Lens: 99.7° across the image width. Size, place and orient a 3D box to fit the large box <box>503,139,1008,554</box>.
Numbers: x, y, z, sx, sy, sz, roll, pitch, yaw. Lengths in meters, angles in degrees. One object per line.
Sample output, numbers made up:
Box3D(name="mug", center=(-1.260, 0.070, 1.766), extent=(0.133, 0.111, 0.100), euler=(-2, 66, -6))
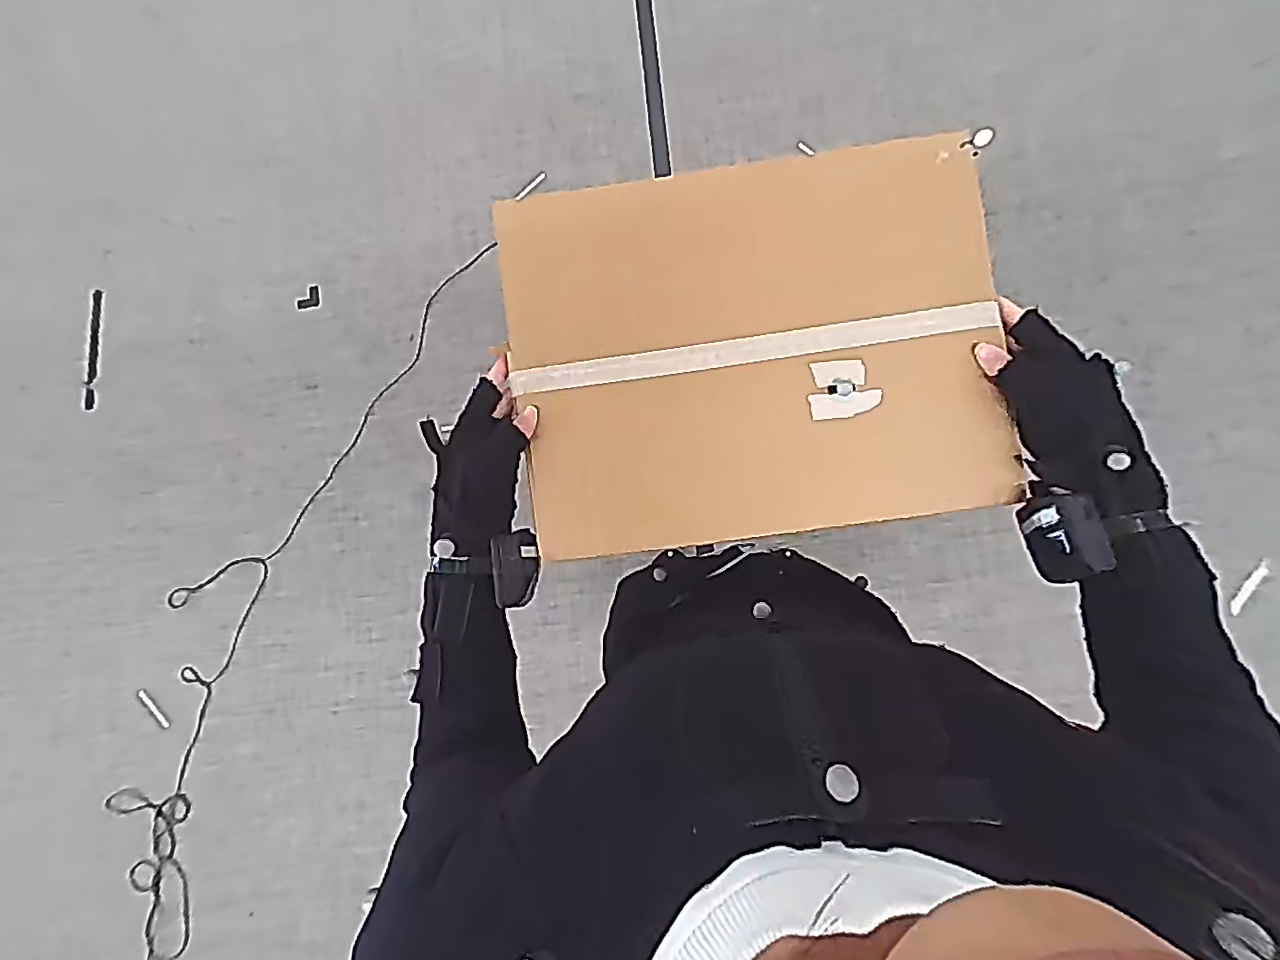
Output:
Box3D(name="large box", center=(0.098, -0.111, 0.615), extent=(0.408, 0.320, 0.320), euler=(-8, 89, 1))
